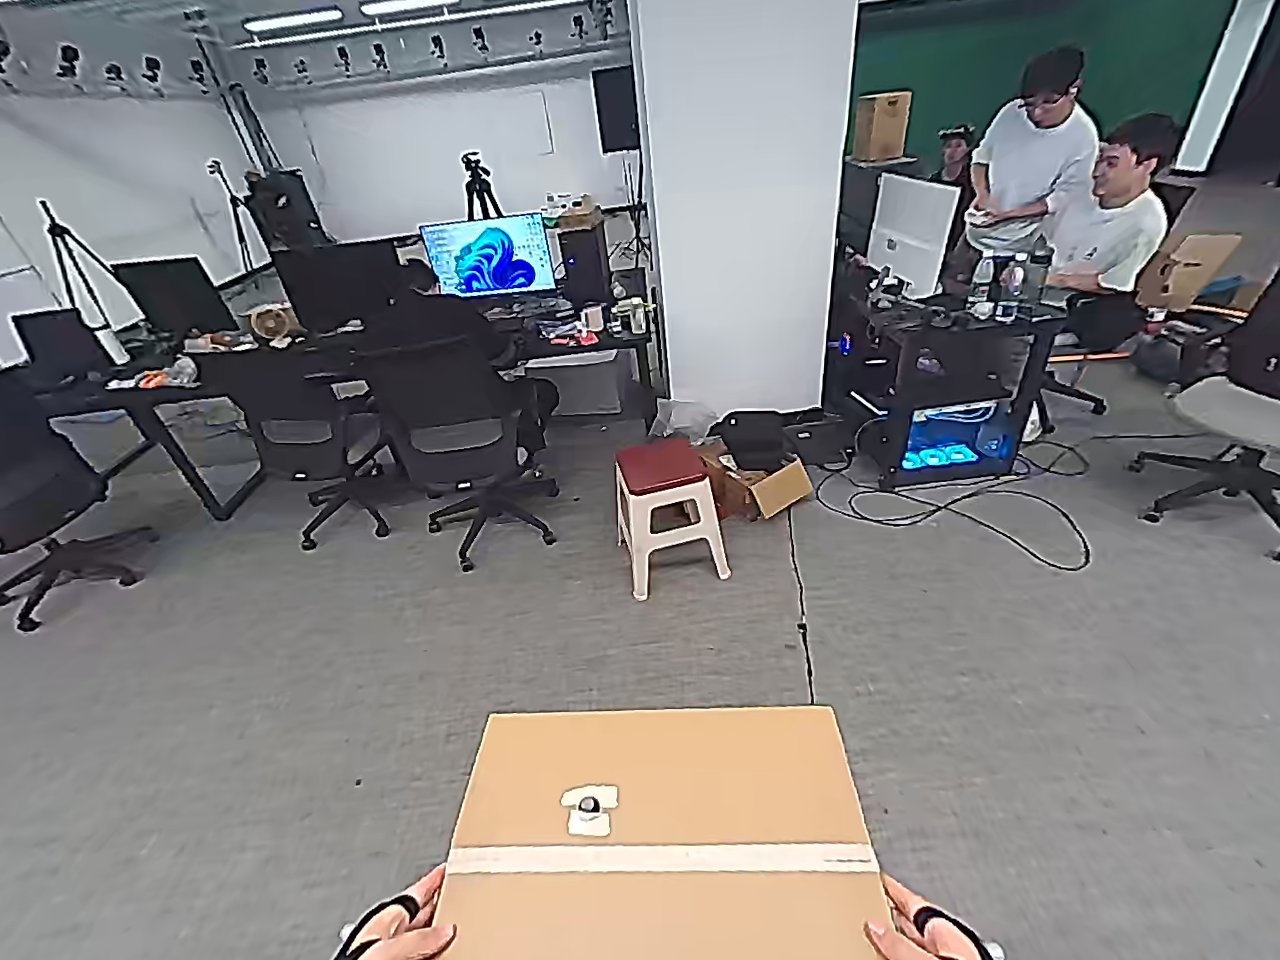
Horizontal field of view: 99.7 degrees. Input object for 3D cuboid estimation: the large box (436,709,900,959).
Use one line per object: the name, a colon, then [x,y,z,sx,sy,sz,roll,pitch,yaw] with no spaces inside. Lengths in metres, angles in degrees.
large box: [0.036,0.491,0.600,0.408,0.320,0.320,-5,34,5]
